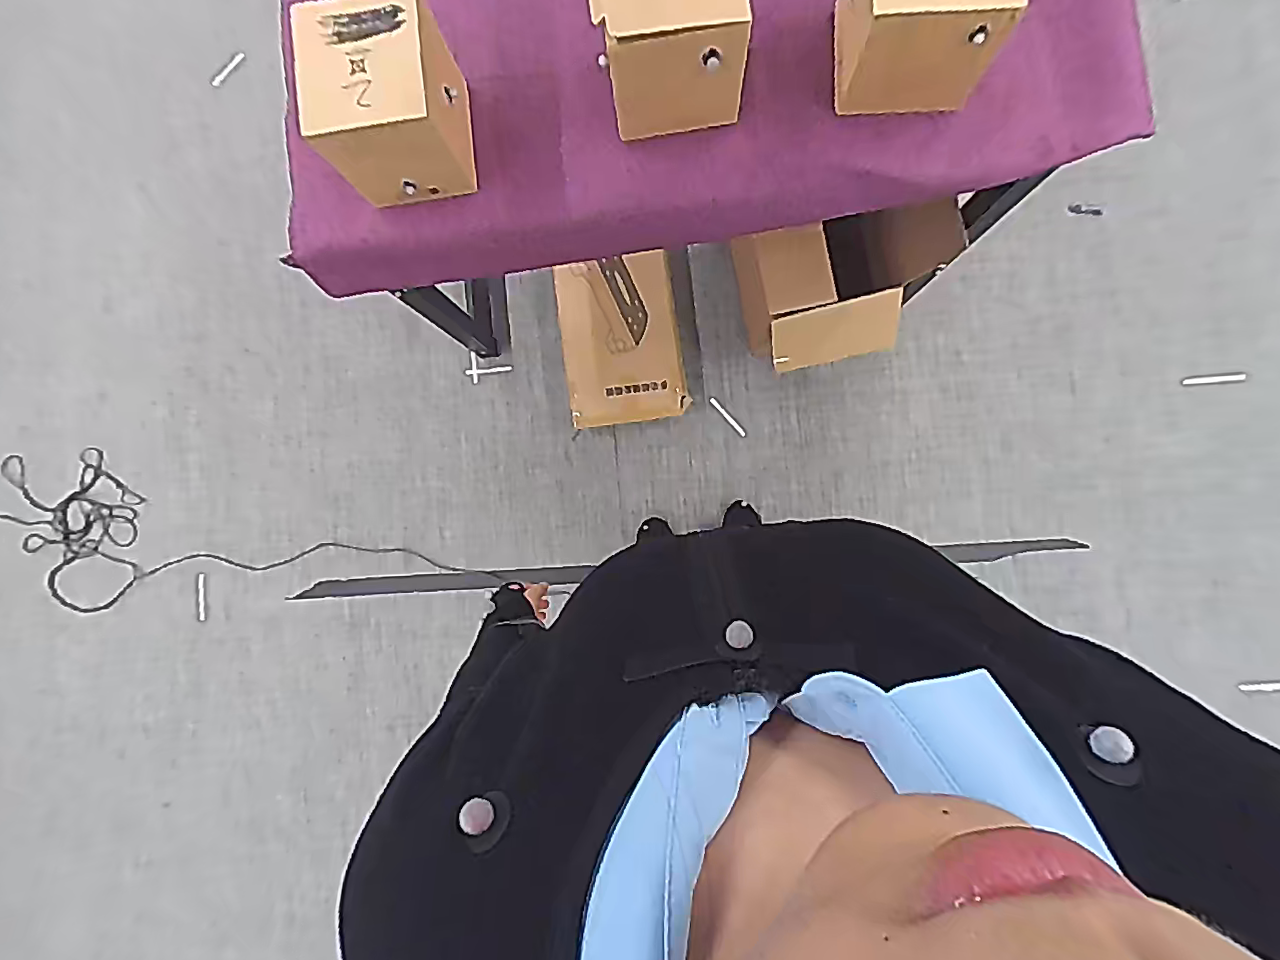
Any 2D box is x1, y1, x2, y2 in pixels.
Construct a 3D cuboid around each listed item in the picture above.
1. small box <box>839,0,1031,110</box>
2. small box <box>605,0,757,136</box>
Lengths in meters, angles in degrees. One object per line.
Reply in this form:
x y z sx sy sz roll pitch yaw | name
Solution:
0.364 -0.614 0.697 0.179 0.176 0.168 0 88 4 | small box
0.047 -0.599 0.718 0.179 0.176 0.168 -7 85 4 | small box
